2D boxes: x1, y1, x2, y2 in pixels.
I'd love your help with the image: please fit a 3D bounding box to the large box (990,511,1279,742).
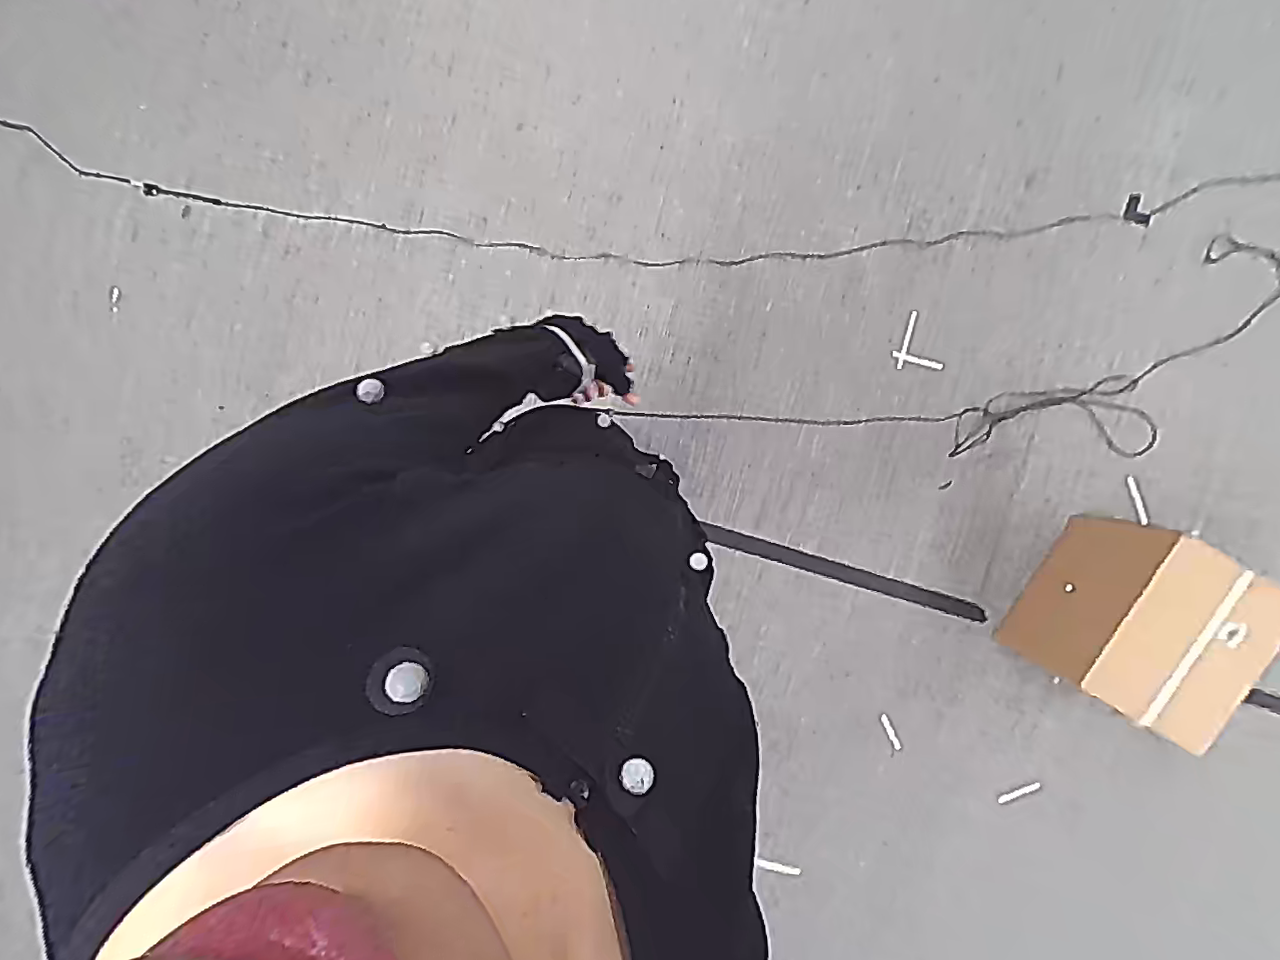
[{"bbox_3d":[1.182,0.333,1.336,0.320,0.320,0.408,31,93,-1],"label":"large box"}]
